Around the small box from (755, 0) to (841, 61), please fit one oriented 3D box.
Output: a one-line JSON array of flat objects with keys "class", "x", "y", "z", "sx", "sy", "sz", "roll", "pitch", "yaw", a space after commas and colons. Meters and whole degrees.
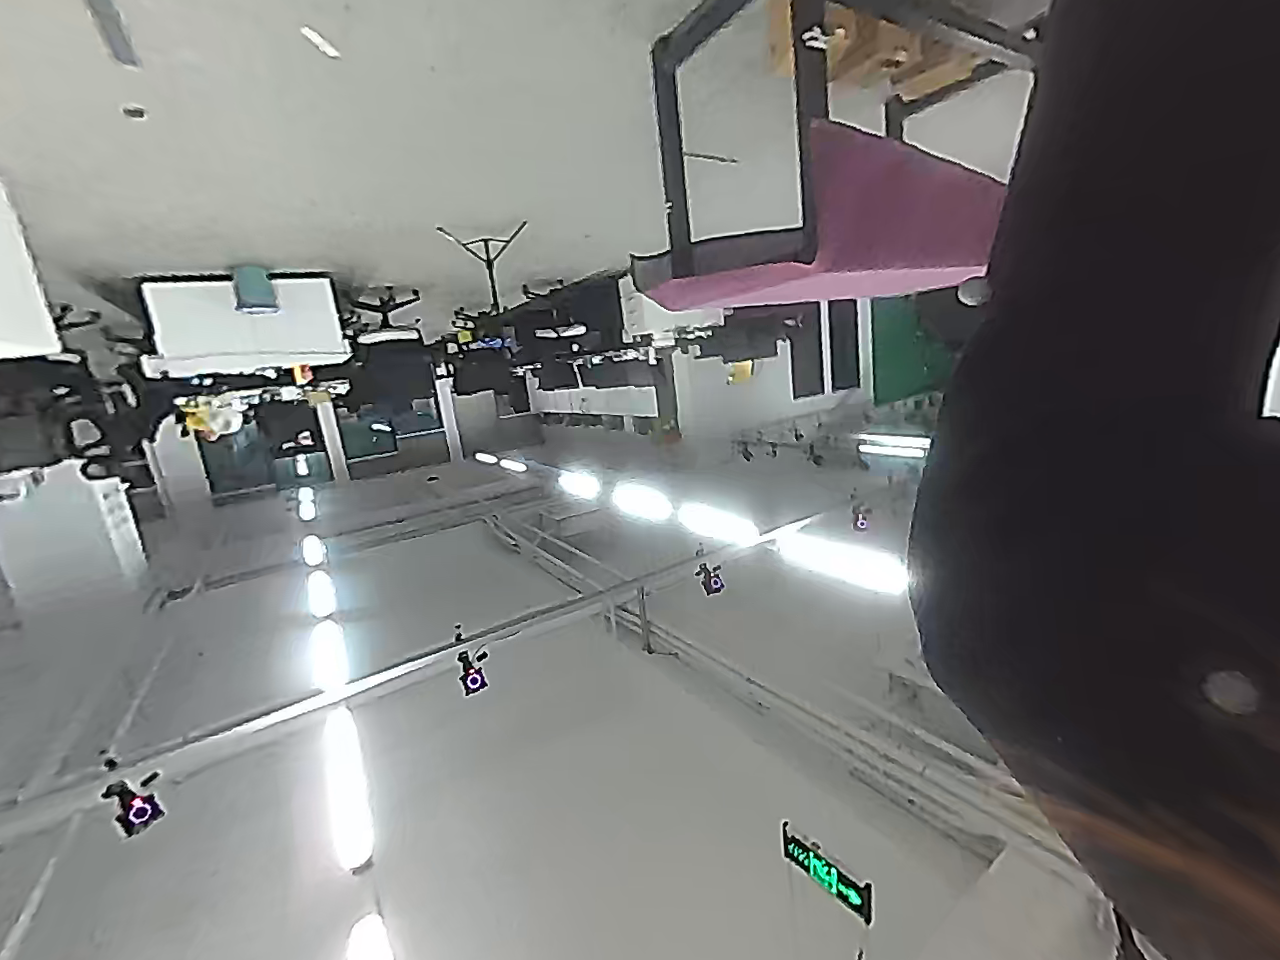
[{"class": "small box", "x": 0.396, "y": -1.213, "z": 1.375, "sx": 0.168, "sy": 0.176, "sz": 0.179, "roll": -10, "pitch": -166, "yaw": -3}]
